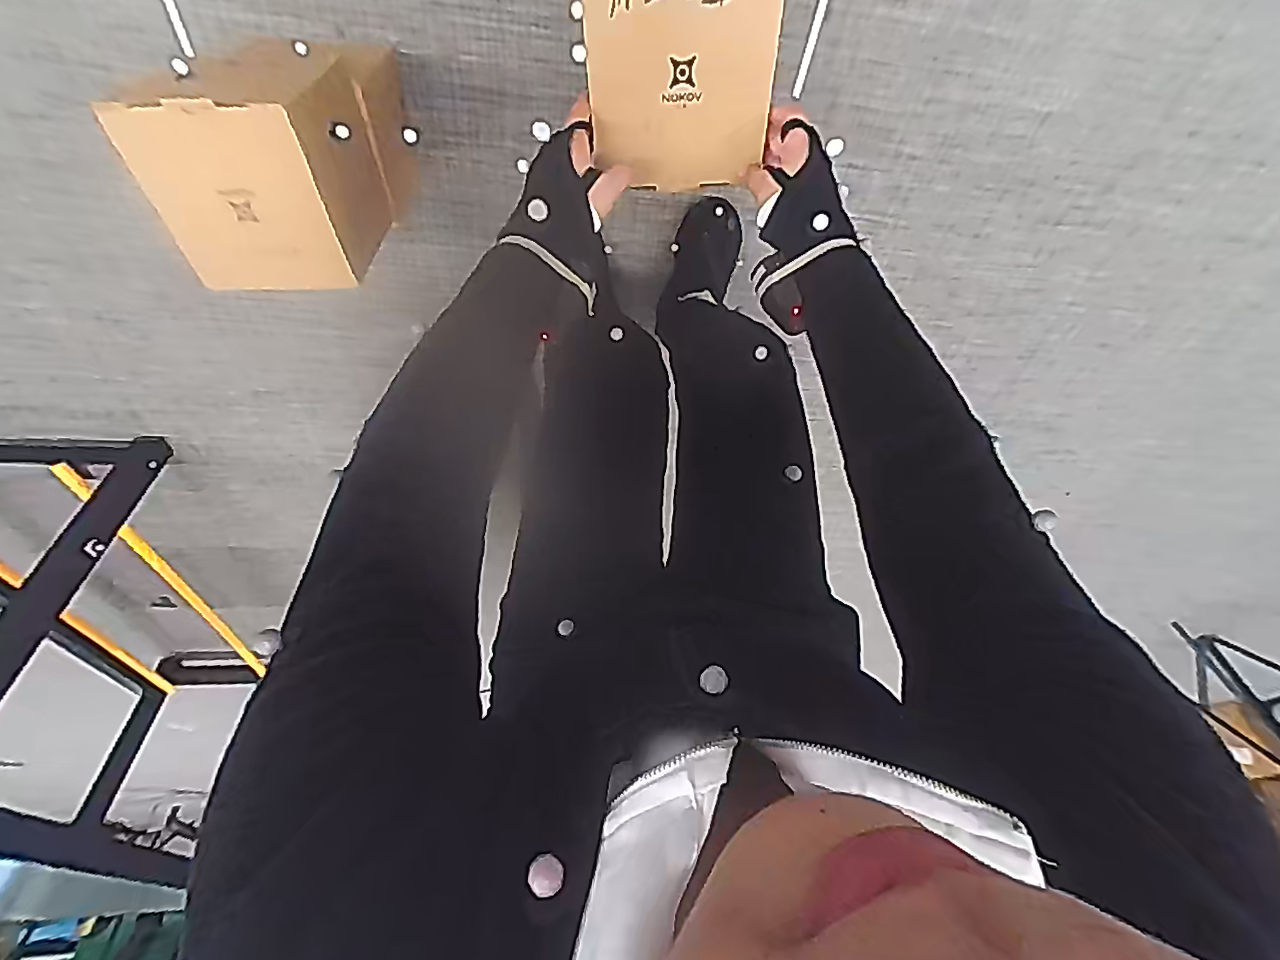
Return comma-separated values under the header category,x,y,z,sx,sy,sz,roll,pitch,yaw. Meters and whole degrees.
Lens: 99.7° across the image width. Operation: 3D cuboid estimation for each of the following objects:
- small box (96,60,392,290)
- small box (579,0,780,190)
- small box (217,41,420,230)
category,x,y,z,sx,sy,sz,roll,pitch,yaw
small box,-0.393,-0.328,0.581,0.168,0.176,0.179,-2,140,-2
small box,0.029,-0.412,0.531,0.168,0.176,0.179,-3,140,-2
small box,-0.405,-0.443,0.697,0.179,0.176,0.168,-1,139,-6
